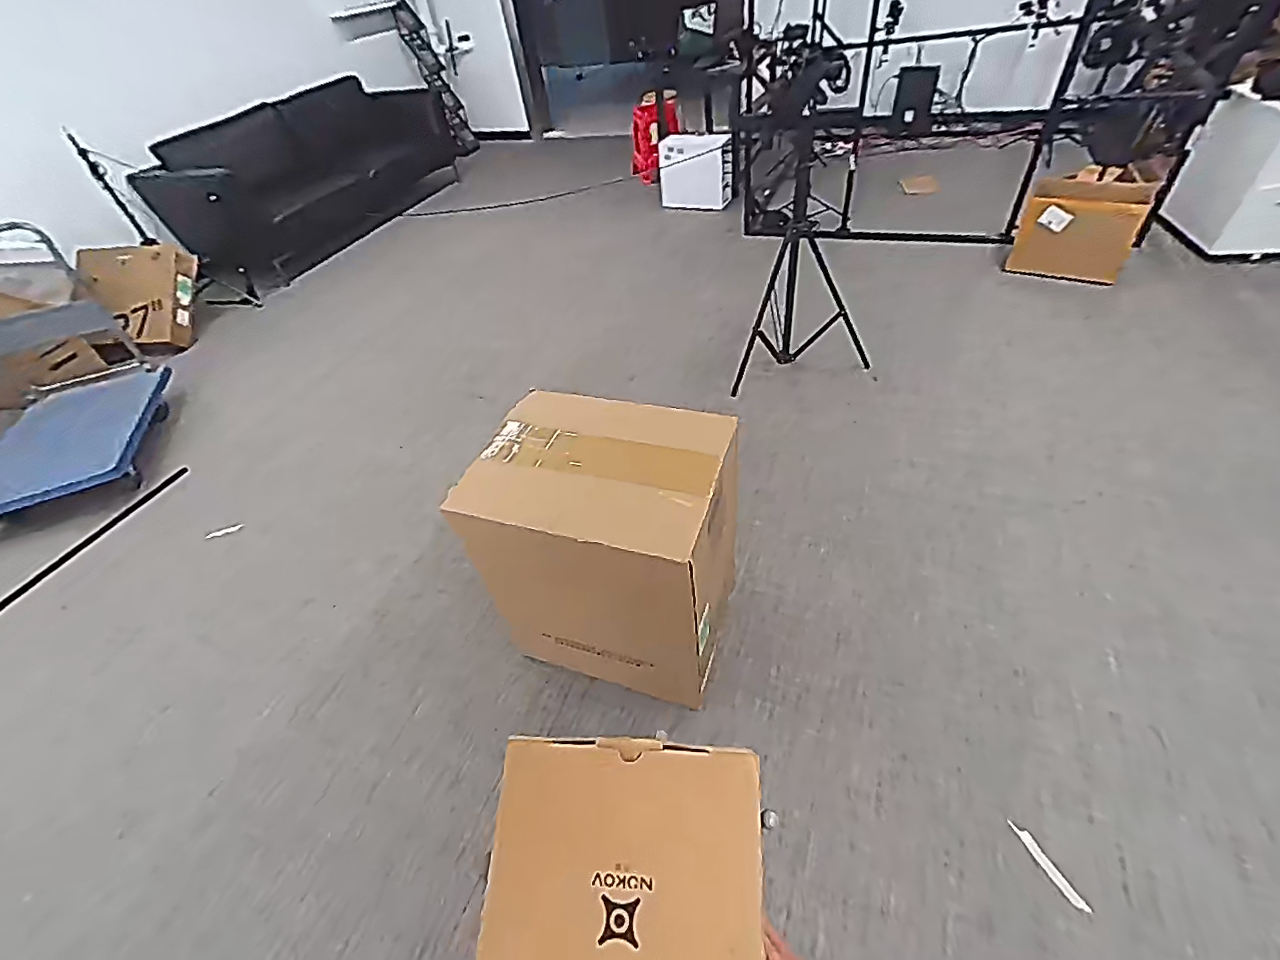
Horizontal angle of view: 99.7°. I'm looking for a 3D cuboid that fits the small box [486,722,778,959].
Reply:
[{"bbox_3d":[0.005,0.275,0.381,0.168,0.176,0.179,0,62,6],"label":"small box"}]
